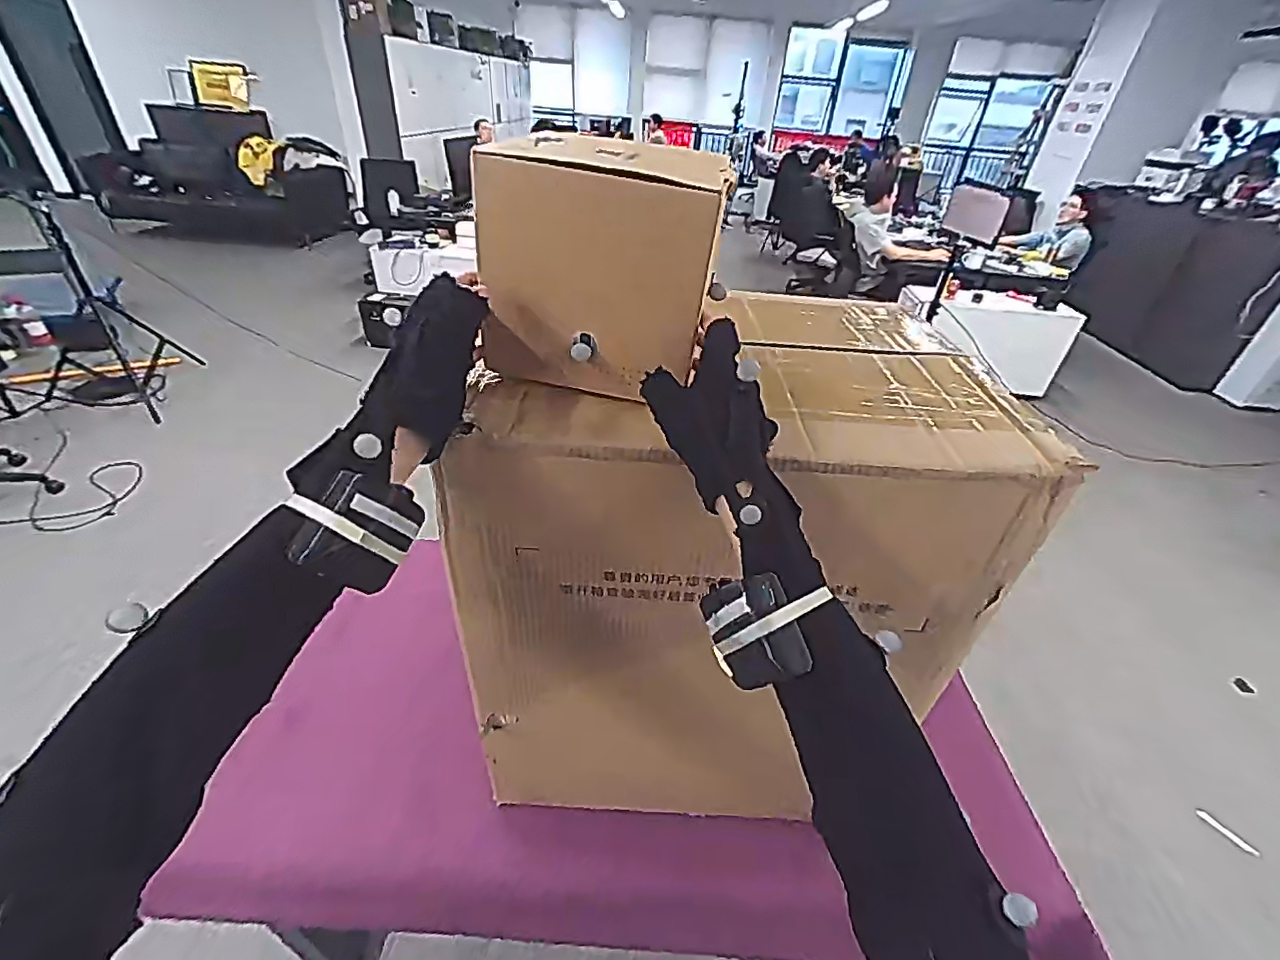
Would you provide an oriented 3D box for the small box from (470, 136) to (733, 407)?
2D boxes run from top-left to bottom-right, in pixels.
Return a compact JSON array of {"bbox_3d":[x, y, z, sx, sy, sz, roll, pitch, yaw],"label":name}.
[{"bbox_3d":[-0.027,-0.181,0.470,0.179,0.176,0.168,12,37,4],"label":"small box"}]
